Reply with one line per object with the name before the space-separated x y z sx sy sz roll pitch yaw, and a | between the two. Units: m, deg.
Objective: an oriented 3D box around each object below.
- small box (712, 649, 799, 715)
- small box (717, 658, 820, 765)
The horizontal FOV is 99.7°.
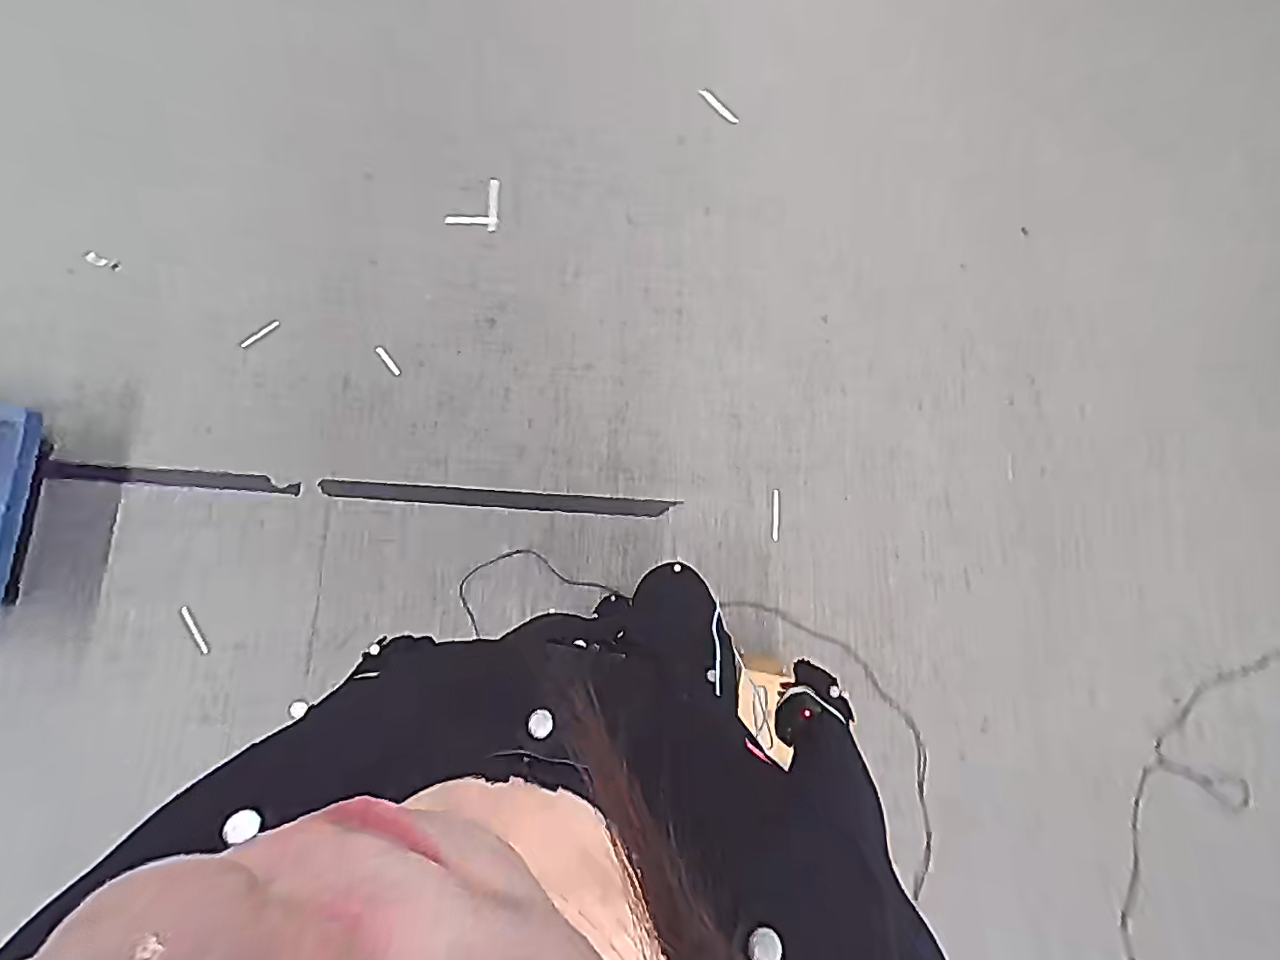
small box | 0.287 0.540 1.385 0.179 0.176 0.168 10 82 1
small box | 0.284 0.512 1.223 0.179 0.176 0.168 12 82 2
